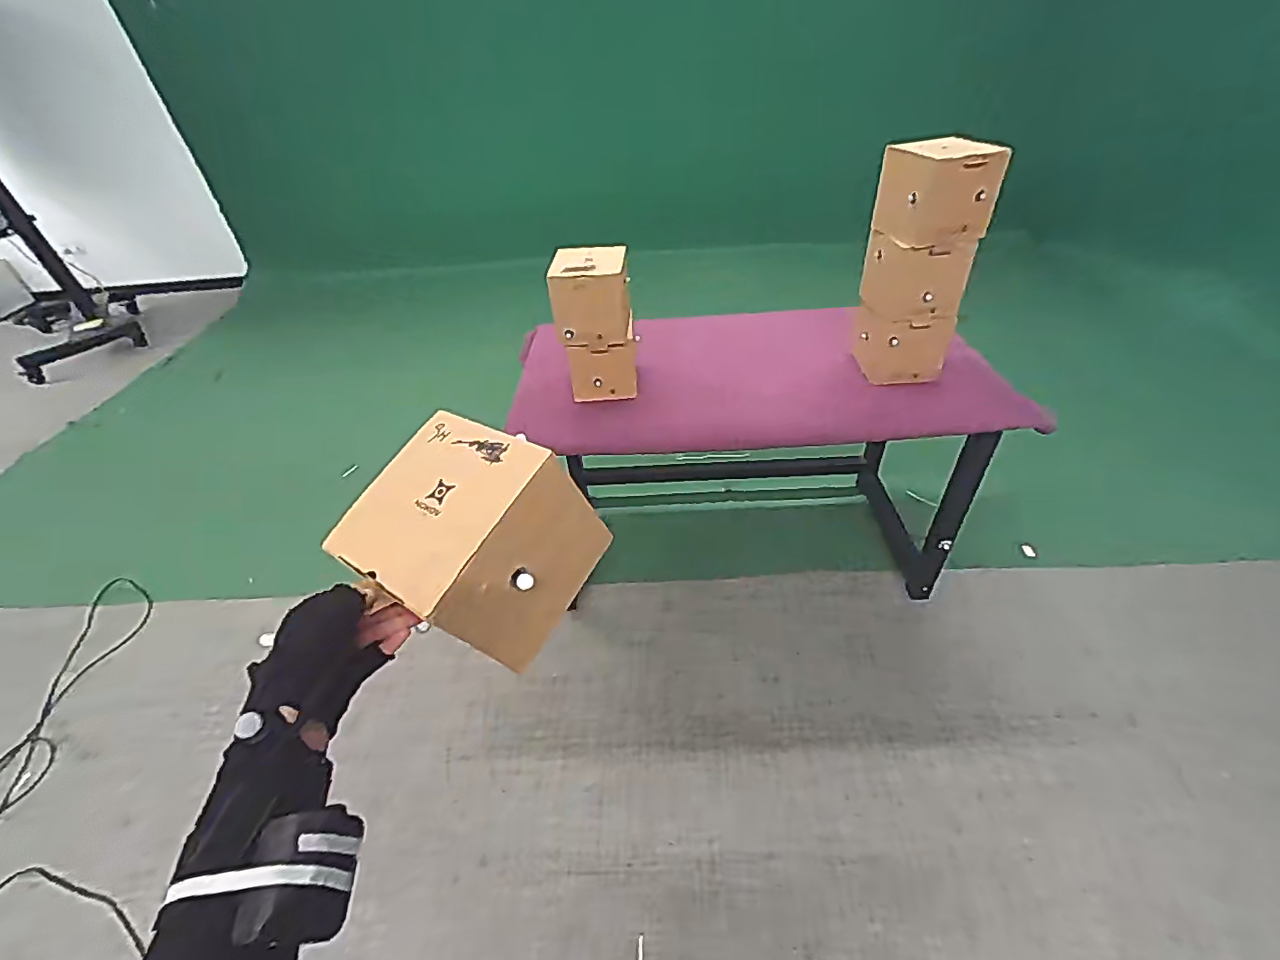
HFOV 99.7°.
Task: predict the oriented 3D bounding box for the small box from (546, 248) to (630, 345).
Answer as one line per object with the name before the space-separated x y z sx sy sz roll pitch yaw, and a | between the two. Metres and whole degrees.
small box | -0.113 -0.431 1.278 0.168 0.176 0.179 0 42 4

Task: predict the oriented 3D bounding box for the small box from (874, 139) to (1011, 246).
small box | 0.629 -0.606 1.149 0.168 0.176 0.179 -12 41 -8

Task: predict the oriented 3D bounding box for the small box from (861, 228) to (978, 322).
small box | 0.634 -0.483 1.255 0.168 0.176 0.179 -5 41 1

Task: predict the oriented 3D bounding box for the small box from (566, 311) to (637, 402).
small box | -0.094 -0.320 1.400 0.168 0.176 0.179 -3 43 1

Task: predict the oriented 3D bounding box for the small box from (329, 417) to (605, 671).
small box | -0.162 0.069 0.558 0.168 0.176 0.179 22 67 31
